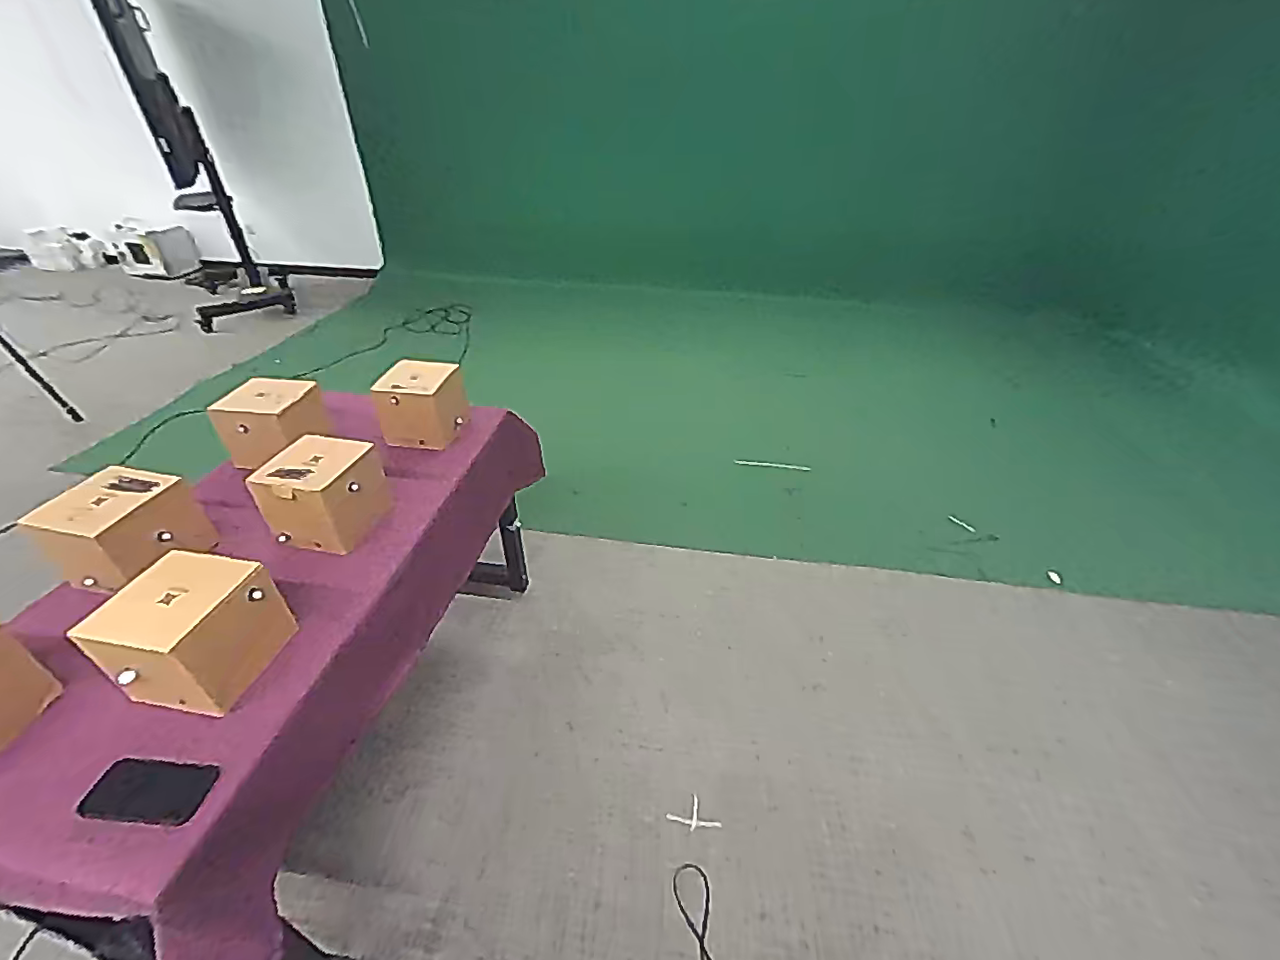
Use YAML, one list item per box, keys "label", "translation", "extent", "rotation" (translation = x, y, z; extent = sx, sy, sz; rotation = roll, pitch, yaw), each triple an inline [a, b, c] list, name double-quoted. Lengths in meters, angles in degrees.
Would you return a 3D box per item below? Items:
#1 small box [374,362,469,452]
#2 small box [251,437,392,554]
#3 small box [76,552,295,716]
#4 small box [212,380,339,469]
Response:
- label: "small box"
  translation: [-0.569, -0.197, 1.439]
  extent: [0.168, 0.176, 0.179]
  rotation: [5, 37, 6]
- label: "small box"
  translation: [-0.651, 0.032, 1.133]
  extent: [0.168, 0.176, 0.179]
  rotation: [8, 36, 9]
- label: "small box"
  translation: [-0.691, 0.242, 0.853]
  extent: [0.168, 0.176, 0.179]
  rotation: [7, 36, 8]
- label: "small box"
  translation: [-0.896, -0.134, 1.348]
  extent: [0.179, 0.176, 0.168]
  rotation: [5, 37, 4]
